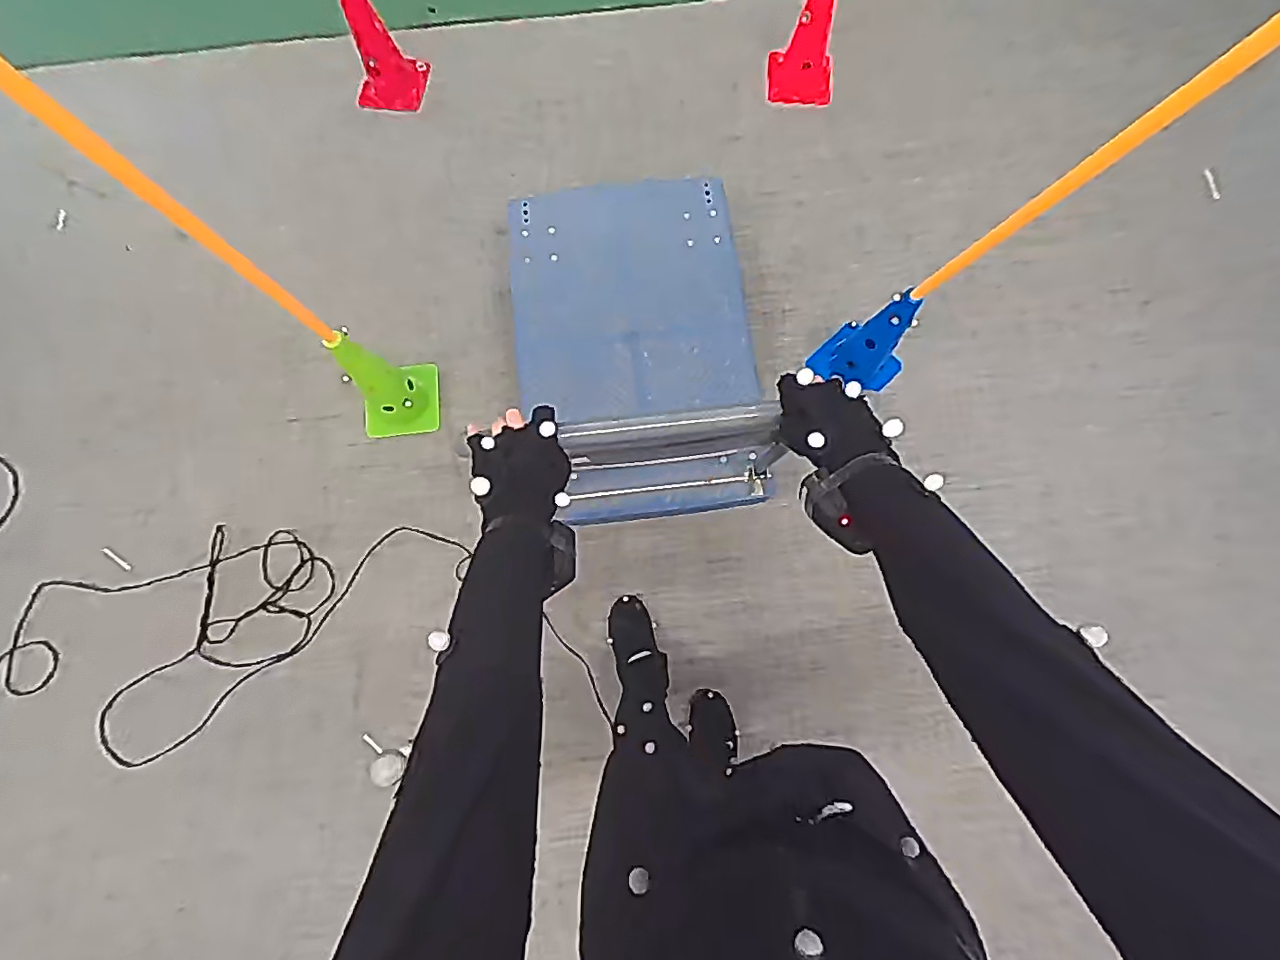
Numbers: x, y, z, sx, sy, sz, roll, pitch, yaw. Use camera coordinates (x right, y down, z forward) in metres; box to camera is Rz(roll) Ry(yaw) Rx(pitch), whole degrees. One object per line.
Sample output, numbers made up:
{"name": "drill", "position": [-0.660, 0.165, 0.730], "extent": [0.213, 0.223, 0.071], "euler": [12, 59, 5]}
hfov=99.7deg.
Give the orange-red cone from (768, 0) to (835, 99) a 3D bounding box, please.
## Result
{"name": "orange-red cone", "position": [0.500, -1.315, 1.527], "extent": [0.198, 0.360, 0.199], "euler": [5, 79, 3]}
